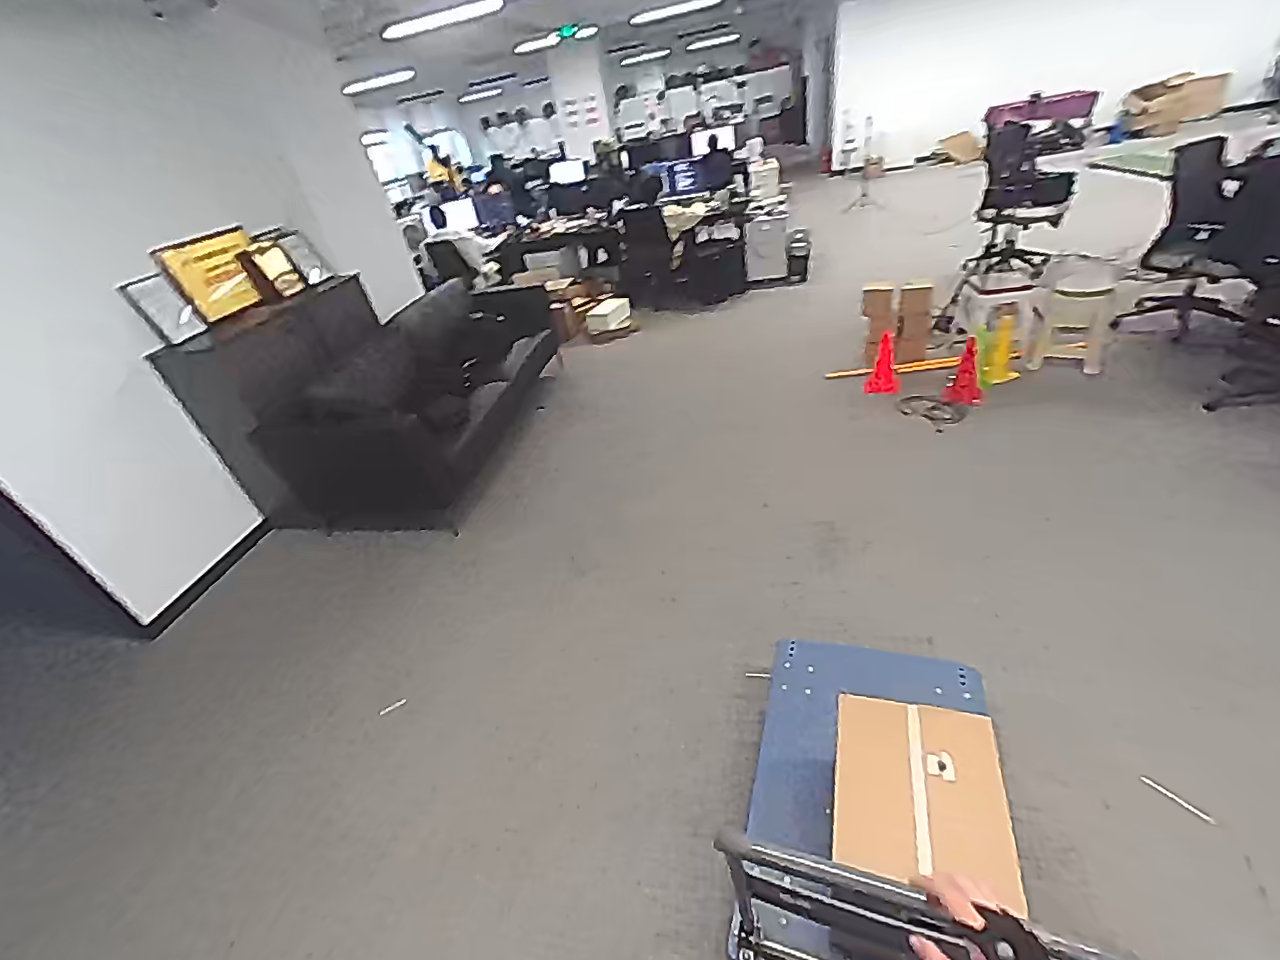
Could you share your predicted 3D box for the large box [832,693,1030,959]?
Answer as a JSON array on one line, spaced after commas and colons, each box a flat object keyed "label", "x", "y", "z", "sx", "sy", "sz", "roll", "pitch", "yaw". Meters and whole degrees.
[{"label": "large box", "x": 0.580, "y": 0.747, "z": 1.163, "sx": 0.320, "sy": 0.320, "sz": 0.408, "roll": 3, "pitch": 37, "yaw": 20}]
